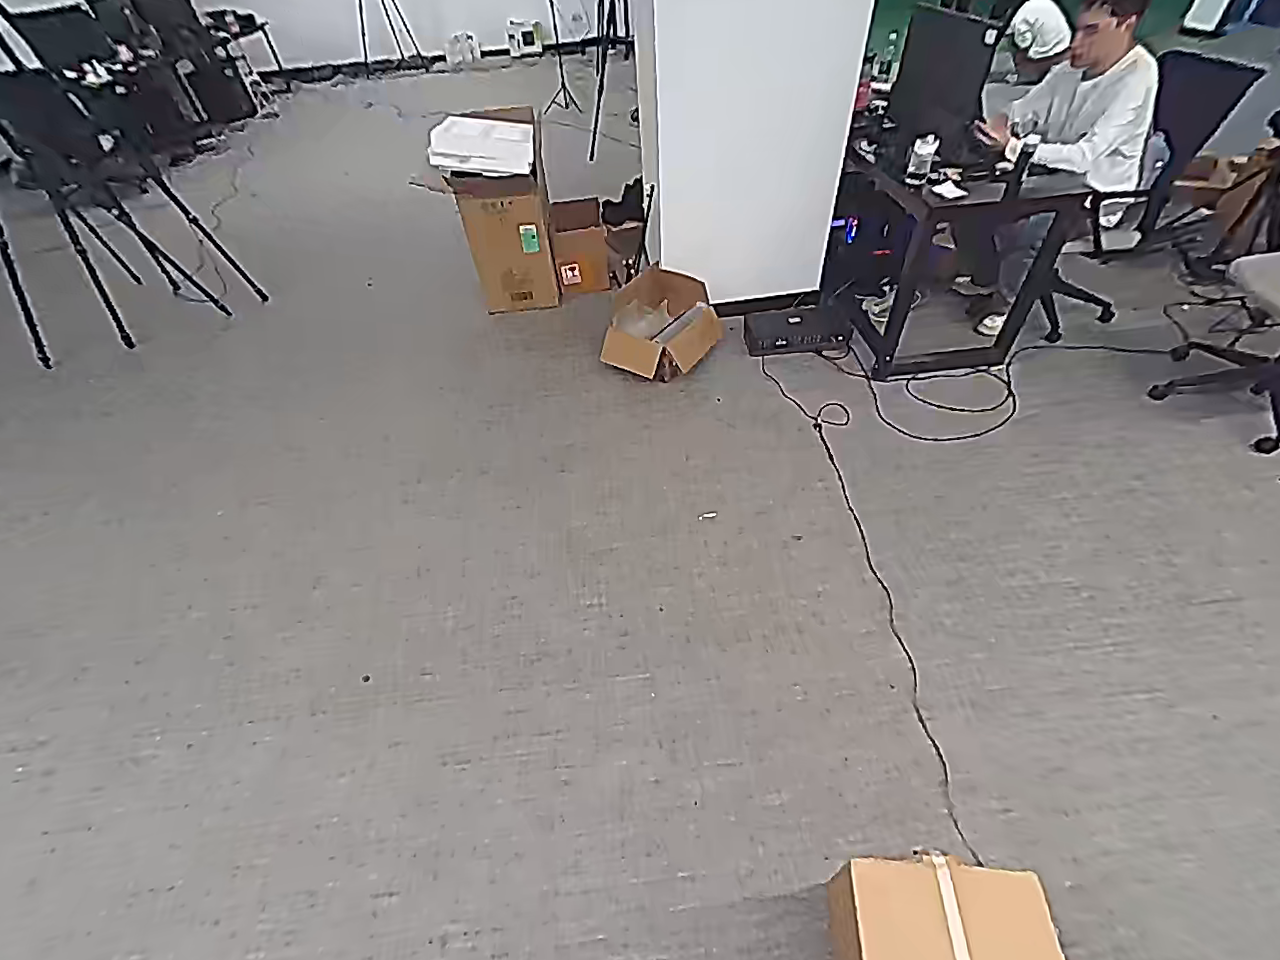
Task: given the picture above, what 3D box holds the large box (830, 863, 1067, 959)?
[{"bbox_3d":[0.539,0.936,0.937,0.320,0.320,0.408,0,48,8],"label":"large box"}]
